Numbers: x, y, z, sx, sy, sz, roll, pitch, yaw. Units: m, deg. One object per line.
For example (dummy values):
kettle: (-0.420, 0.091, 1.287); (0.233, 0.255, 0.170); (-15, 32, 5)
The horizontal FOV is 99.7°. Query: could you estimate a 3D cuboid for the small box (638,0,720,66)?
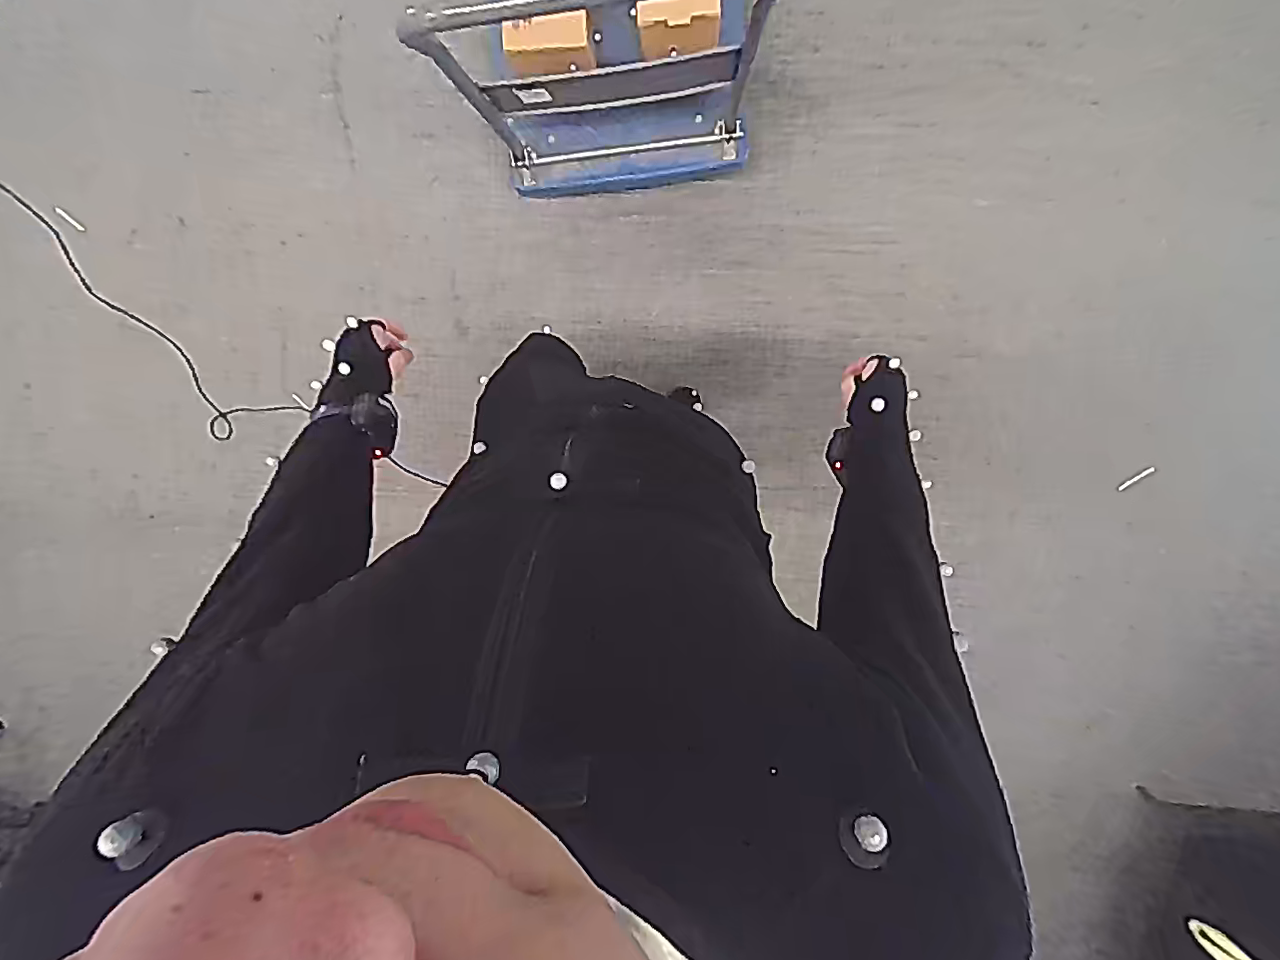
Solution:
small box: (0.078, -1.027, 1.145); (0.168, 0.176, 0.179); (-3, 103, 5)
